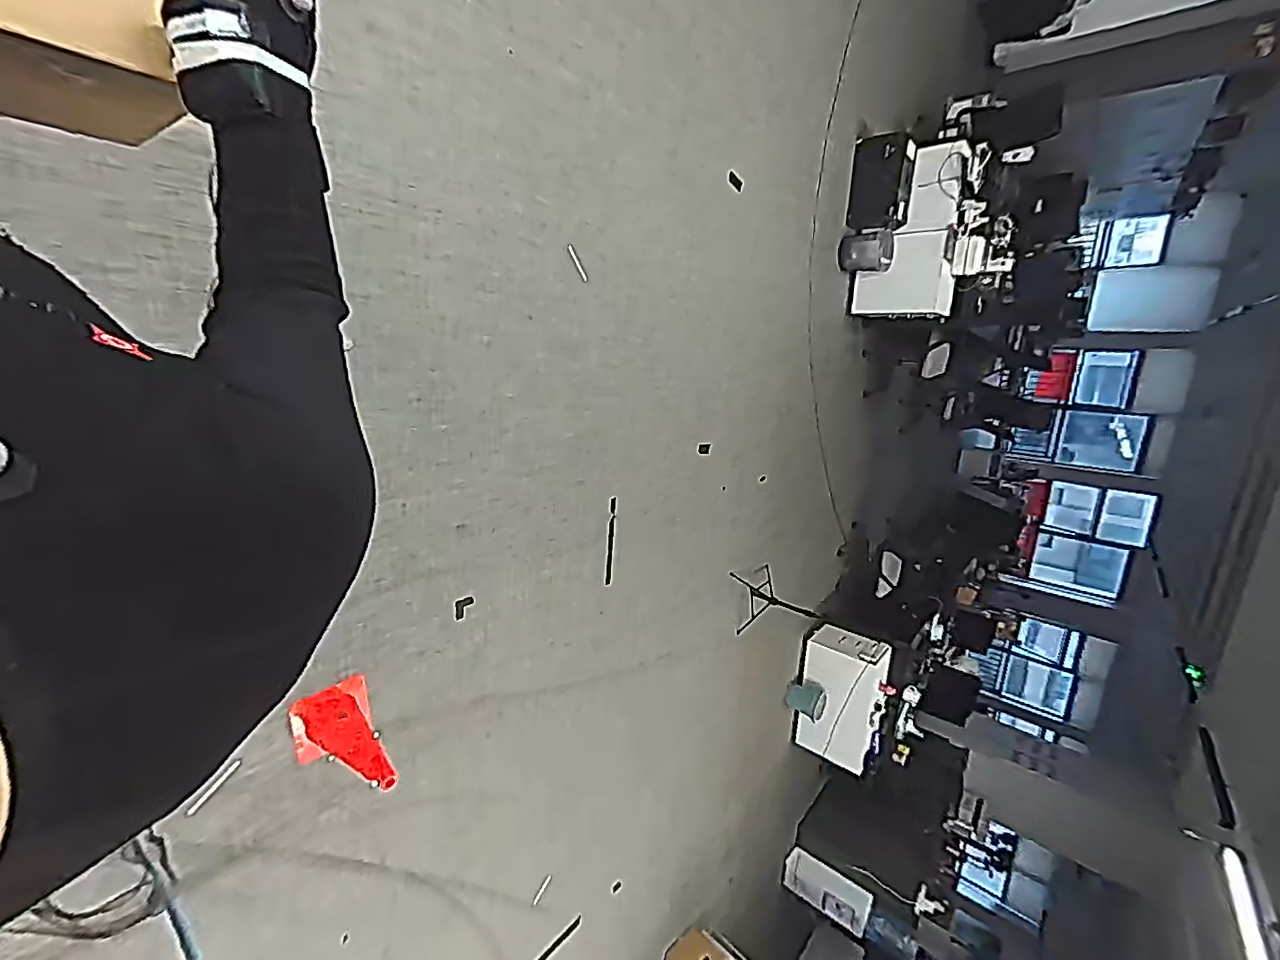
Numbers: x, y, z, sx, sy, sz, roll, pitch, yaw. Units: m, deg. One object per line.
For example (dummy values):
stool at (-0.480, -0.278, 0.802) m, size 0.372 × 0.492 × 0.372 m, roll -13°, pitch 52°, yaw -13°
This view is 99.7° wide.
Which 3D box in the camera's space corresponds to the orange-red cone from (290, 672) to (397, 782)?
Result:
orange-red cone at (-0.756, 0.700, 1.446) m, size 0.198 × 0.360 × 0.199 m, roll -17°, pitch 112°, yaw -49°

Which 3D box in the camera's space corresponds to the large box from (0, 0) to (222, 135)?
large box at (-0.528, -0.435, 0.289) m, size 0.408 × 0.320 × 0.320 m, roll -13°, pitch 115°, yaw -49°
